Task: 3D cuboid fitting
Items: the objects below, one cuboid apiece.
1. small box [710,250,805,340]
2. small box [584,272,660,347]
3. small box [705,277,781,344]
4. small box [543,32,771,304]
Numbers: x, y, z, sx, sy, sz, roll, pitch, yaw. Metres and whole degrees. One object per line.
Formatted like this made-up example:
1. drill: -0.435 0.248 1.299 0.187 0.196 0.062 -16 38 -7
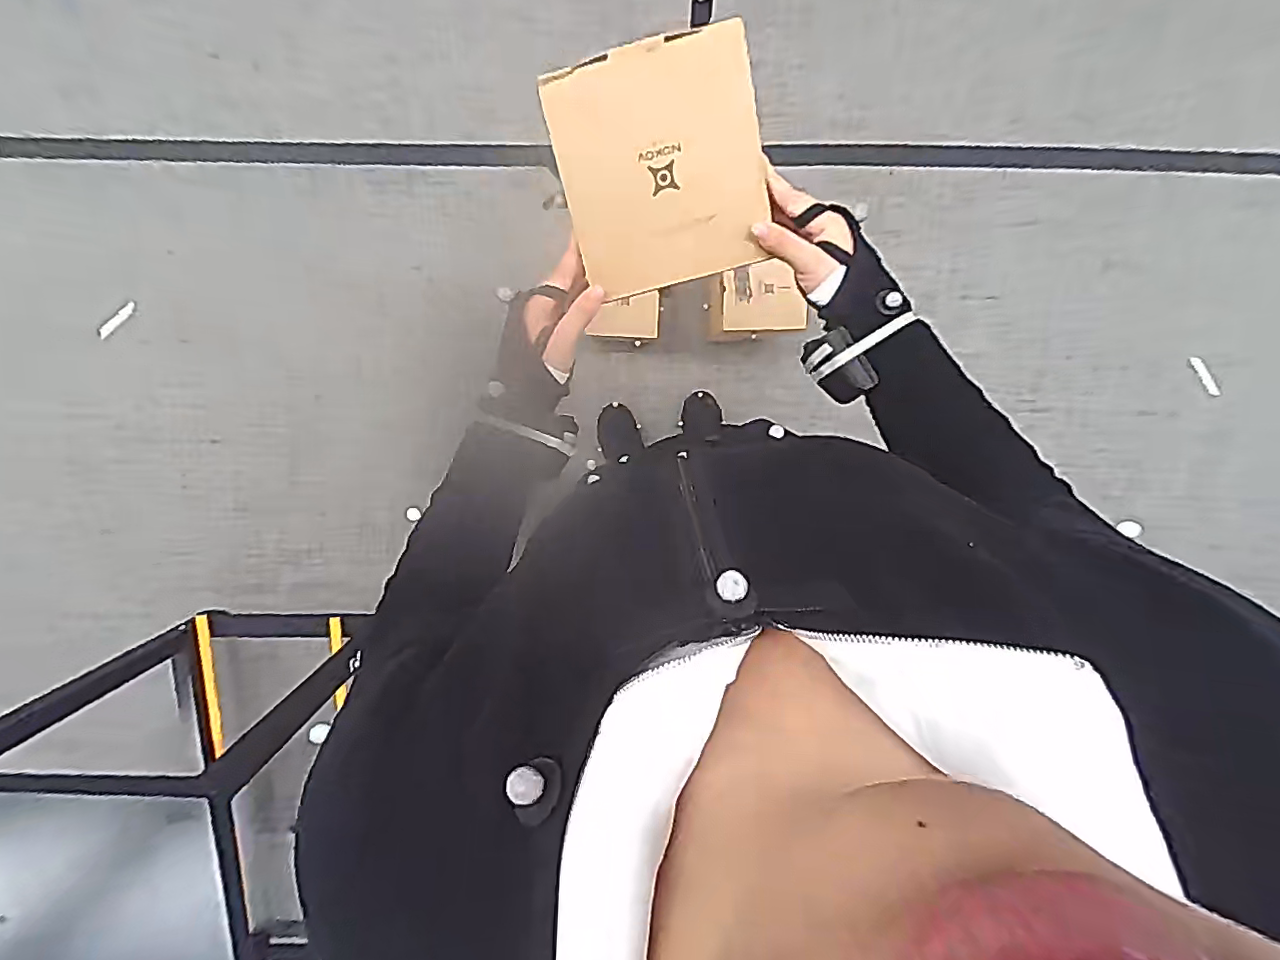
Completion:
1. small box: 0.249 -0.398 1.187 0.179 0.176 0.168 -1 100 -1
2. small box: -0.043 -0.424 1.348 0.179 0.176 0.168 3 100 0
3. small box: 0.256 -0.431 1.349 0.168 0.176 0.179 -1 101 0
4. small box: 0.016 -0.281 0.531 0.168 0.176 0.179 -14 110 4
